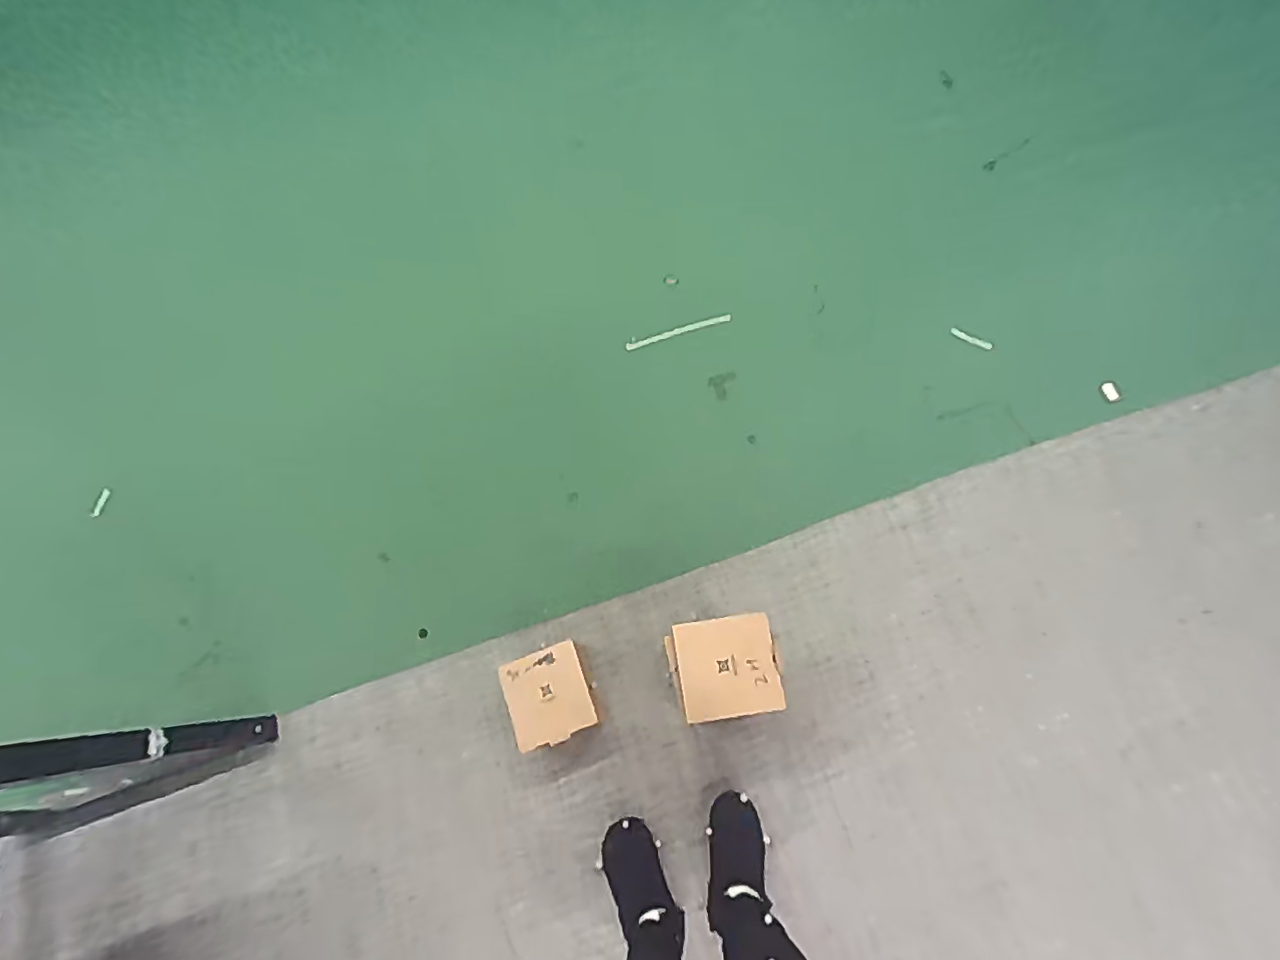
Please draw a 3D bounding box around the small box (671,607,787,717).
[{"bbox_3d":[0.156,0.338,1.006,0.179,0.176,0.168,-8,71,-1],"label":"small box"}]

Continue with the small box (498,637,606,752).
[{"bbox_3d":[-0.180,0.450,1.155,0.168,0.176,0.179,-21,71,-5],"label":"small box"}]
